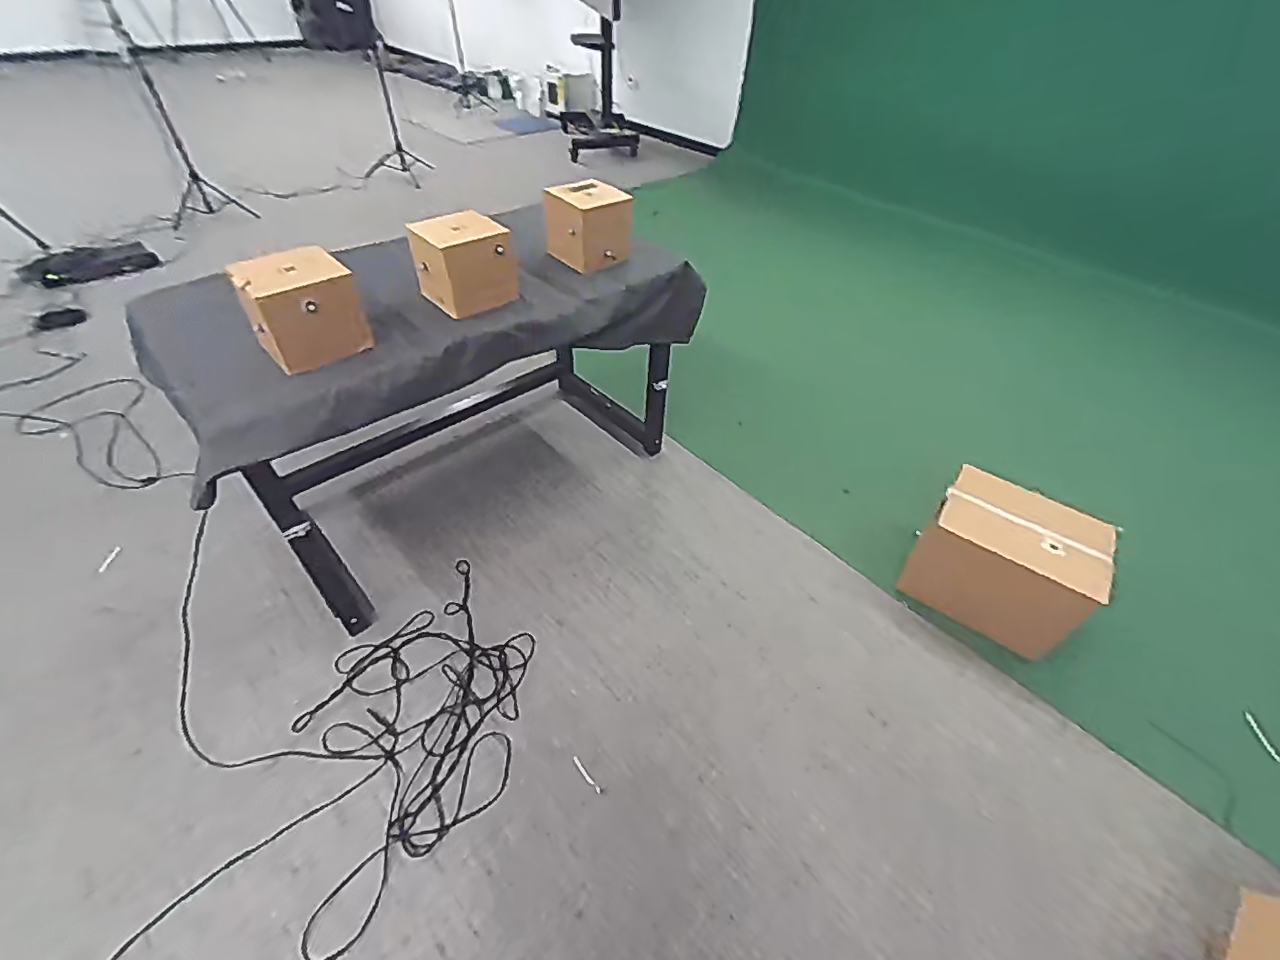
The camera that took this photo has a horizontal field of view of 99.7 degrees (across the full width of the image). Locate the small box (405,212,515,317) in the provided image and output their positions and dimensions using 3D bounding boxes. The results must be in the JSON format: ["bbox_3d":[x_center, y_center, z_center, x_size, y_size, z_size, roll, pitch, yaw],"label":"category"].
[{"bbox_3d":[-0.413,-0.502,1.264,0.179,0.176,0.168,-31,54,-31],"label":"small box"}]

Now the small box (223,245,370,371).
[{"bbox_3d":[-0.674,-0.341,1.079,0.179,0.176,0.168,-32,56,-33],"label":"small box"}]
